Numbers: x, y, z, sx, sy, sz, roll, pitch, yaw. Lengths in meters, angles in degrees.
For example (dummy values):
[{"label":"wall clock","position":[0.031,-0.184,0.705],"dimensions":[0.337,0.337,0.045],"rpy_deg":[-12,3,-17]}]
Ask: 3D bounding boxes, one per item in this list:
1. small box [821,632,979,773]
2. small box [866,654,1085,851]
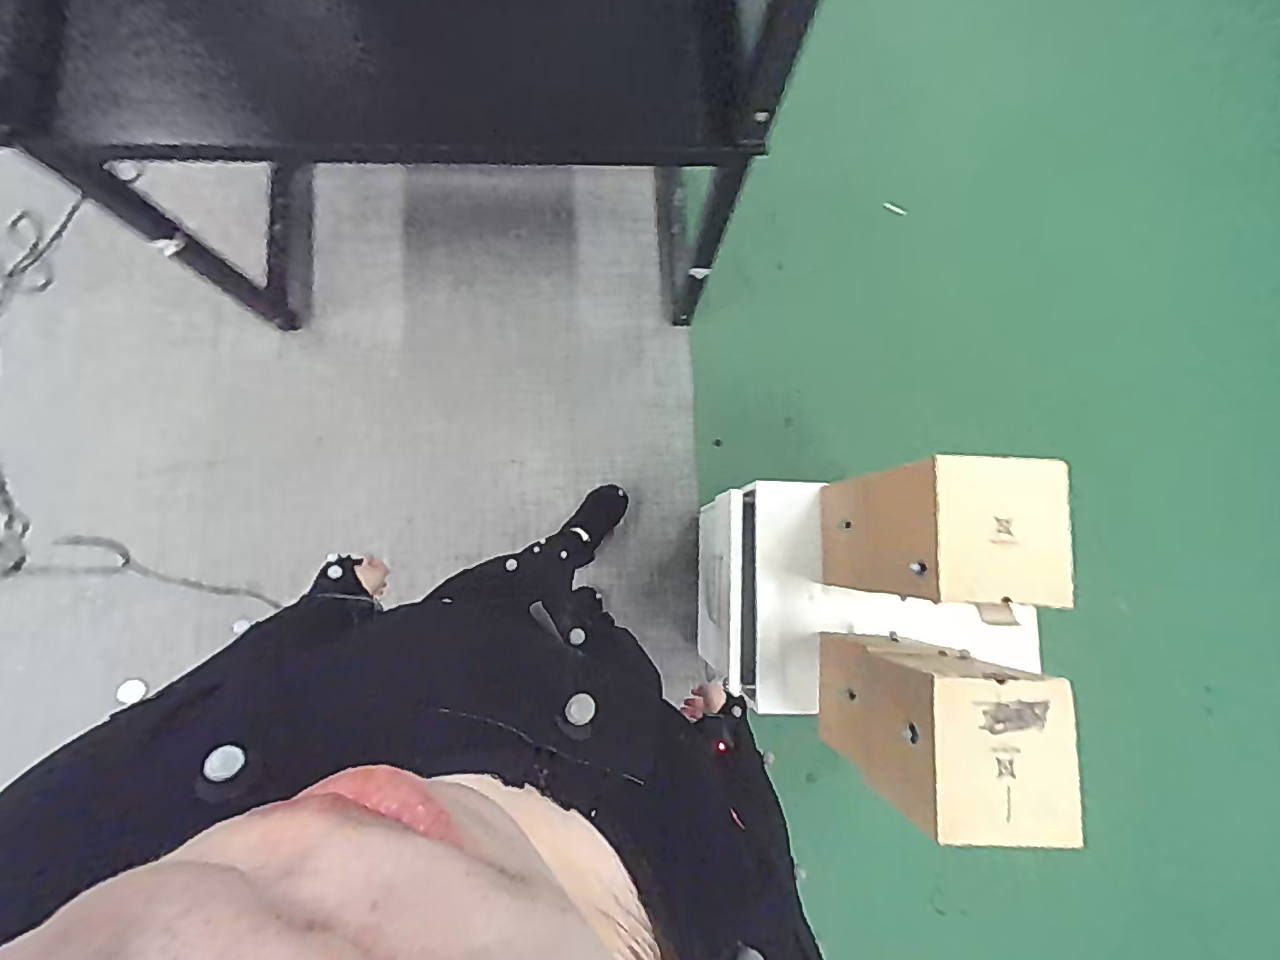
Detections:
[{"label":"small box","position":[0.389,0.334,0.829],"dimensions":[0.168,0.176,0.179],"rpy_deg":[4,82,-3]},{"label":"small box","position":[0.395,0.318,0.666],"dimensions":[0.168,0.176,0.179],"rpy_deg":[4,82,-3]}]
